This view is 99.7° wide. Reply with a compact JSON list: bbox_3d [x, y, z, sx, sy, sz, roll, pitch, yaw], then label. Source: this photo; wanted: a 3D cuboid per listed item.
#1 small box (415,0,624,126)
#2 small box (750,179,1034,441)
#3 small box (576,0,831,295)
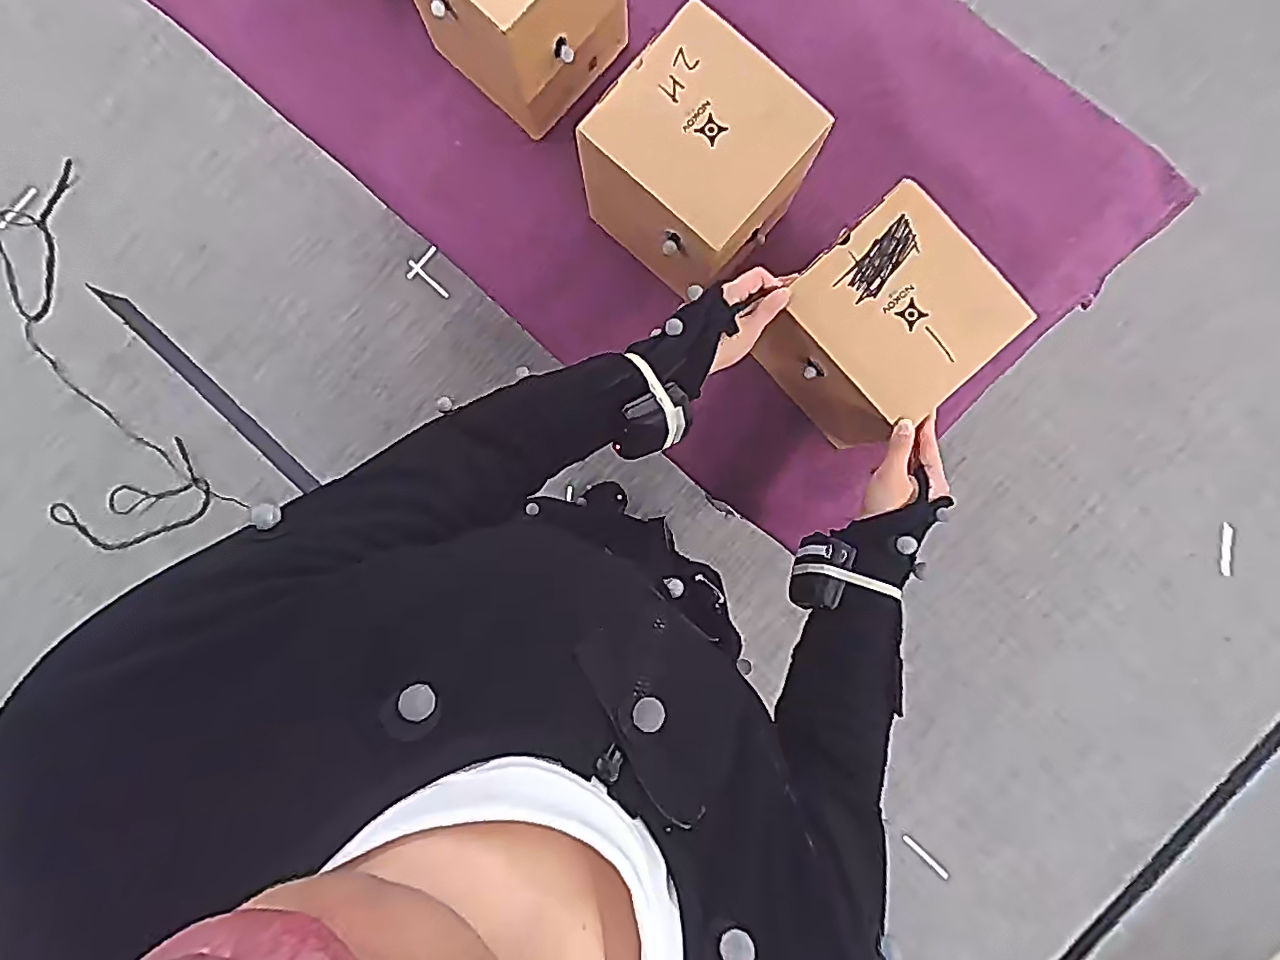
[{"bbox_3d":[-0.131,-0.526,0.576,0.179,0.176,0.168,43,91,1],"label":"small box"},{"bbox_3d":[0.239,-0.156,0.567,0.168,0.176,0.179,-42,90,1],"label":"small box"},{"bbox_3d":[0.059,-0.322,0.570,0.179,0.176,0.168,42,89,1],"label":"small box"}]
